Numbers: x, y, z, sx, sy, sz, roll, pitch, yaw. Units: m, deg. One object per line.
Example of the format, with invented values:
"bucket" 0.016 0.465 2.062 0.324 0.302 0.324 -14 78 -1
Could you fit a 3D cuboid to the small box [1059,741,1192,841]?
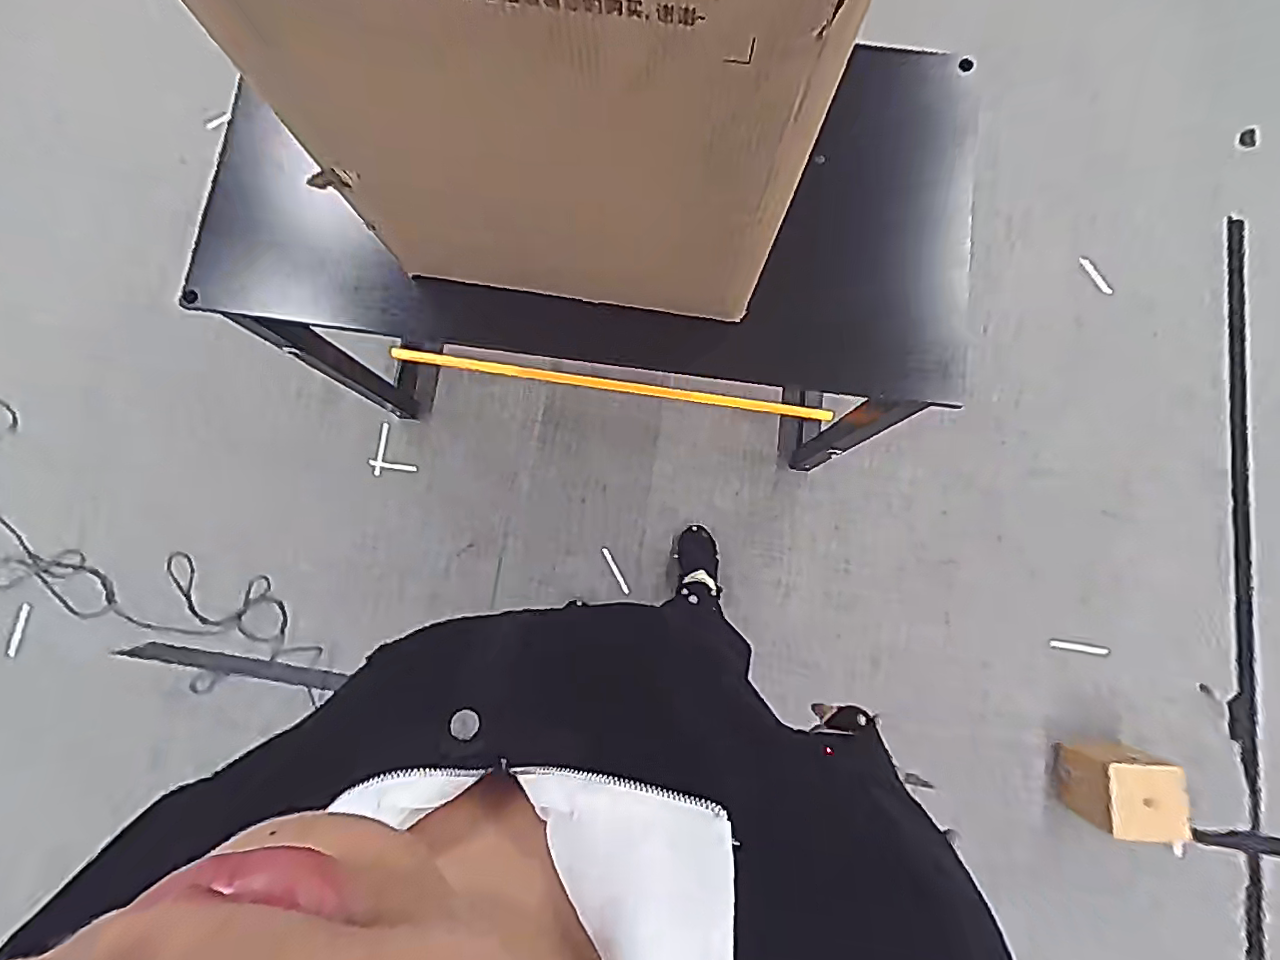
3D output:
"small box" 1.185 0.757 1.331 0.179 0.176 0.168 2 81 2
